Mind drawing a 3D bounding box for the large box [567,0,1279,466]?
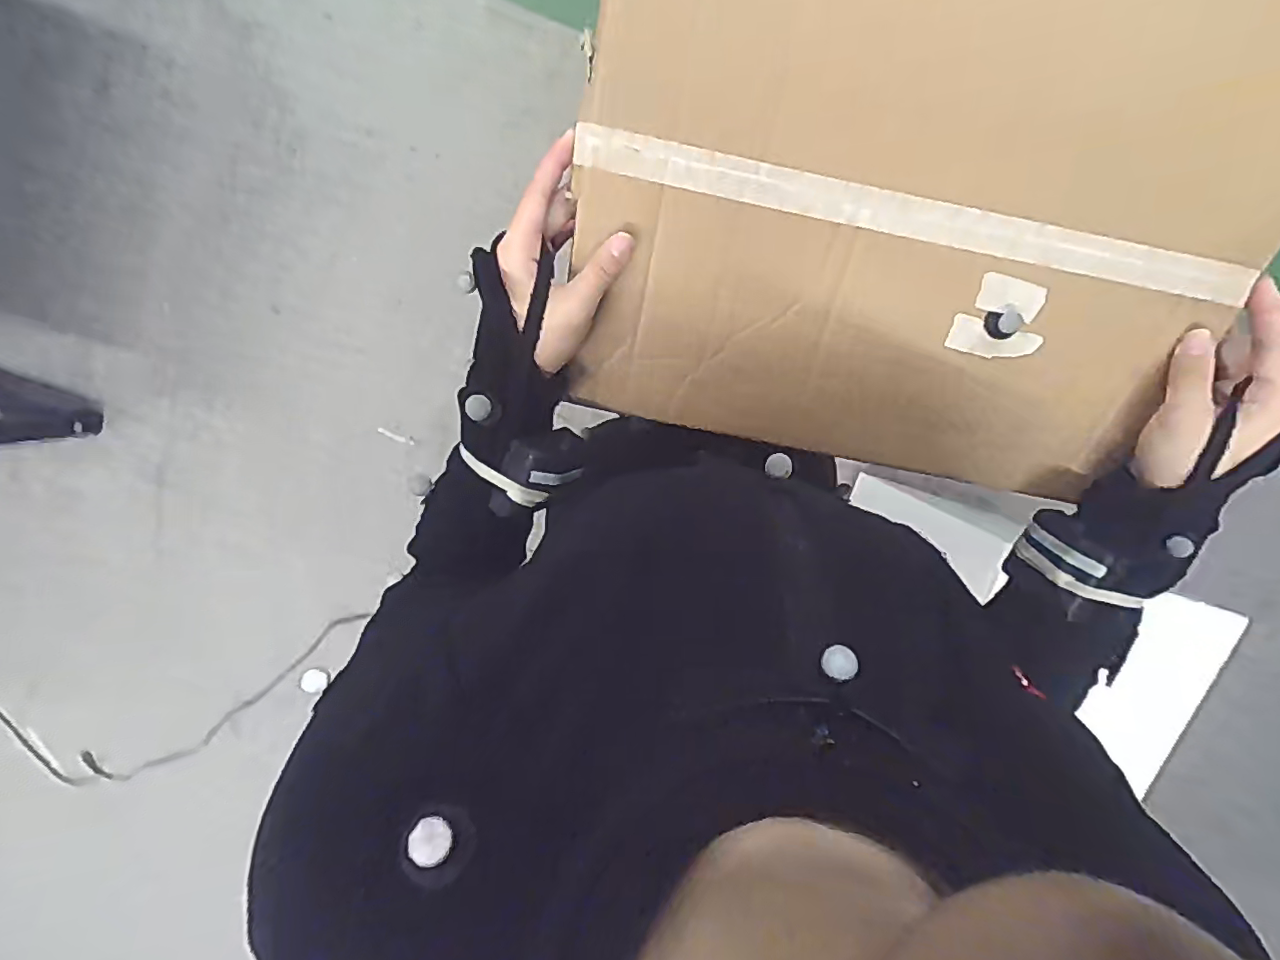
[{"bbox_3d":[0.166,-0.238,0.454,0.408,0.320,0.320,9,118,-4],"label":"large box"}]
